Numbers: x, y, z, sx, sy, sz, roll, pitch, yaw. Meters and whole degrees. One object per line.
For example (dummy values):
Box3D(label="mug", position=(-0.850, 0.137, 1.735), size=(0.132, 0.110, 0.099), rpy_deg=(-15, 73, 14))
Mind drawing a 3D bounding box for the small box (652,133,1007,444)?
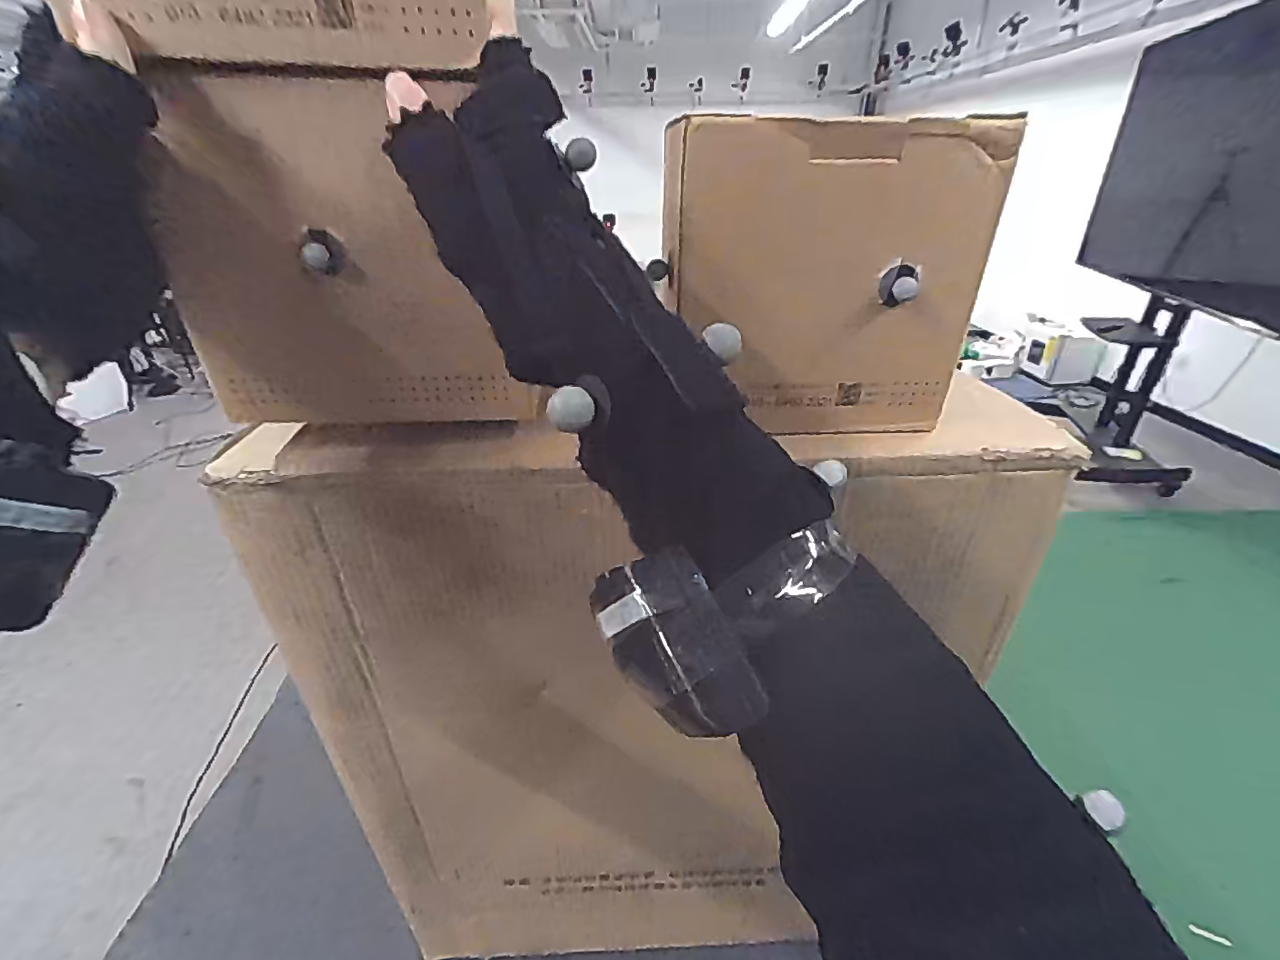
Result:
Box3D(label="small box", position=(0.095, -0.133, 0.369), size=(0.168, 0.176, 0.179), rpy_deg=(0, 30, -2))

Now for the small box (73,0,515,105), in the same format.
Box3D(label="small box", position=(-0.152, -0.277, 0.251), size=(0.168, 0.176, 0.179), rpy_deg=(-2, 34, -8))

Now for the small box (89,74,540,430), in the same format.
Box3D(label="small box", position=(-0.154, -0.140, 0.339), size=(0.179, 0.176, 0.168), rpy_deg=(-2, 34, -9))
